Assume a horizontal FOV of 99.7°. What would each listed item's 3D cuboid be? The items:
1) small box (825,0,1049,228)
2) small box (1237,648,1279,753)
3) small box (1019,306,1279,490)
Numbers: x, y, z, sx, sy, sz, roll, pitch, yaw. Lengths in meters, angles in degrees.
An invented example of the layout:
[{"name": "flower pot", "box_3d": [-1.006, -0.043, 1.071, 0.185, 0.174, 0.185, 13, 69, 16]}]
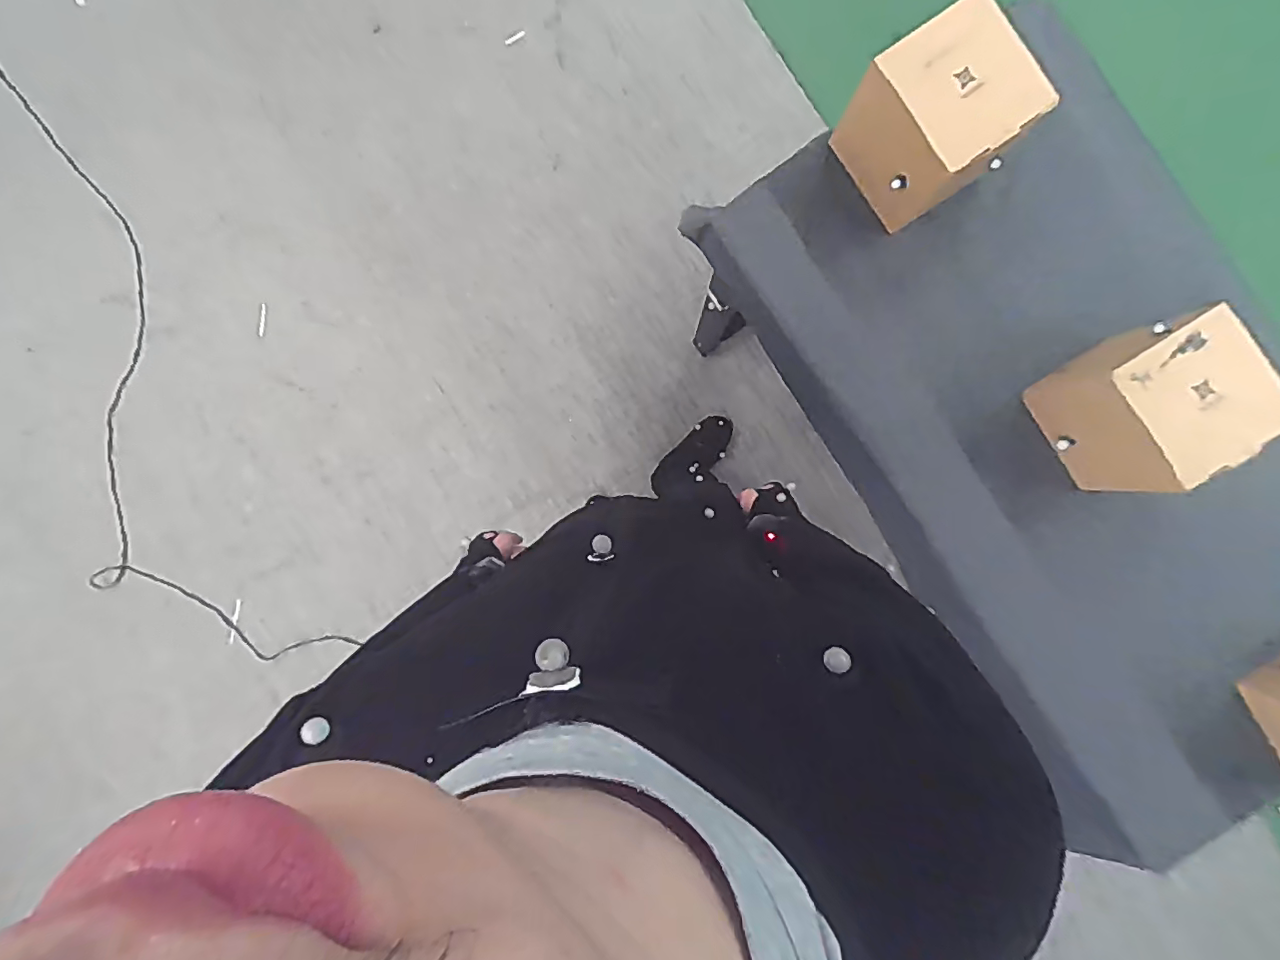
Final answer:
[{"name": "small box", "box_3d": [0.393, -0.484, 0.748, 0.168, 0.176, 0.179, -36, 89, -3]}, {"name": "small box", "box_3d": [1.015, 0.325, 0.749, 0.168, 0.176, 0.179, -32, 90, -1]}, {"name": "small box", "box_3d": [0.689, -0.104, 0.750, 0.168, 0.176, 0.179, -34, 91, -1]}]
